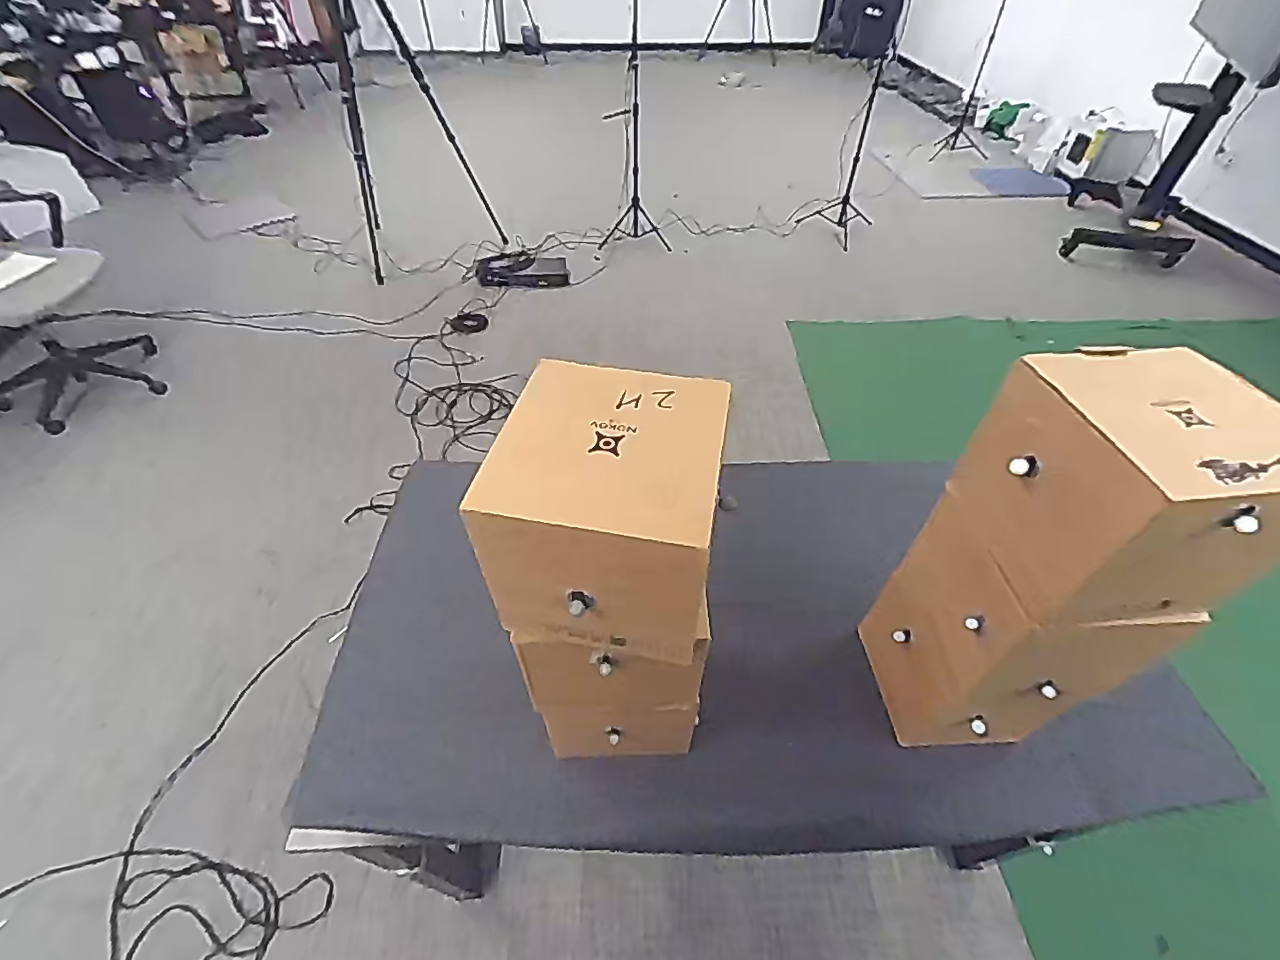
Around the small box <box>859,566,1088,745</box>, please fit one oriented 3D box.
[{"bbox_3d":[0.413,0.234,0.709,0.168,0.176,0.179,-2,46,-2],"label":"small box"}]

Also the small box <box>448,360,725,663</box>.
[{"bbox_3d":[-0.028,0.028,0.449,0.168,0.176,0.179,9,48,7],"label":"small box"}]

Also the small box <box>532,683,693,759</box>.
[{"bbox_3d":[-0.032,0.245,0.694,0.179,0.176,0.168,-1,46,-1],"label":"small box"}]

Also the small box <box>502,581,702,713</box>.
[{"bbox_3d":[-0.033,0.136,0.574,0.179,0.176,0.168,0,47,-1],"label":"small box"}]

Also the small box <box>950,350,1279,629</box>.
[{"bbox_3d":[0.413,0.007,0.472,0.168,0.176,0.179,-4,46,-4],"label":"small box"}]
